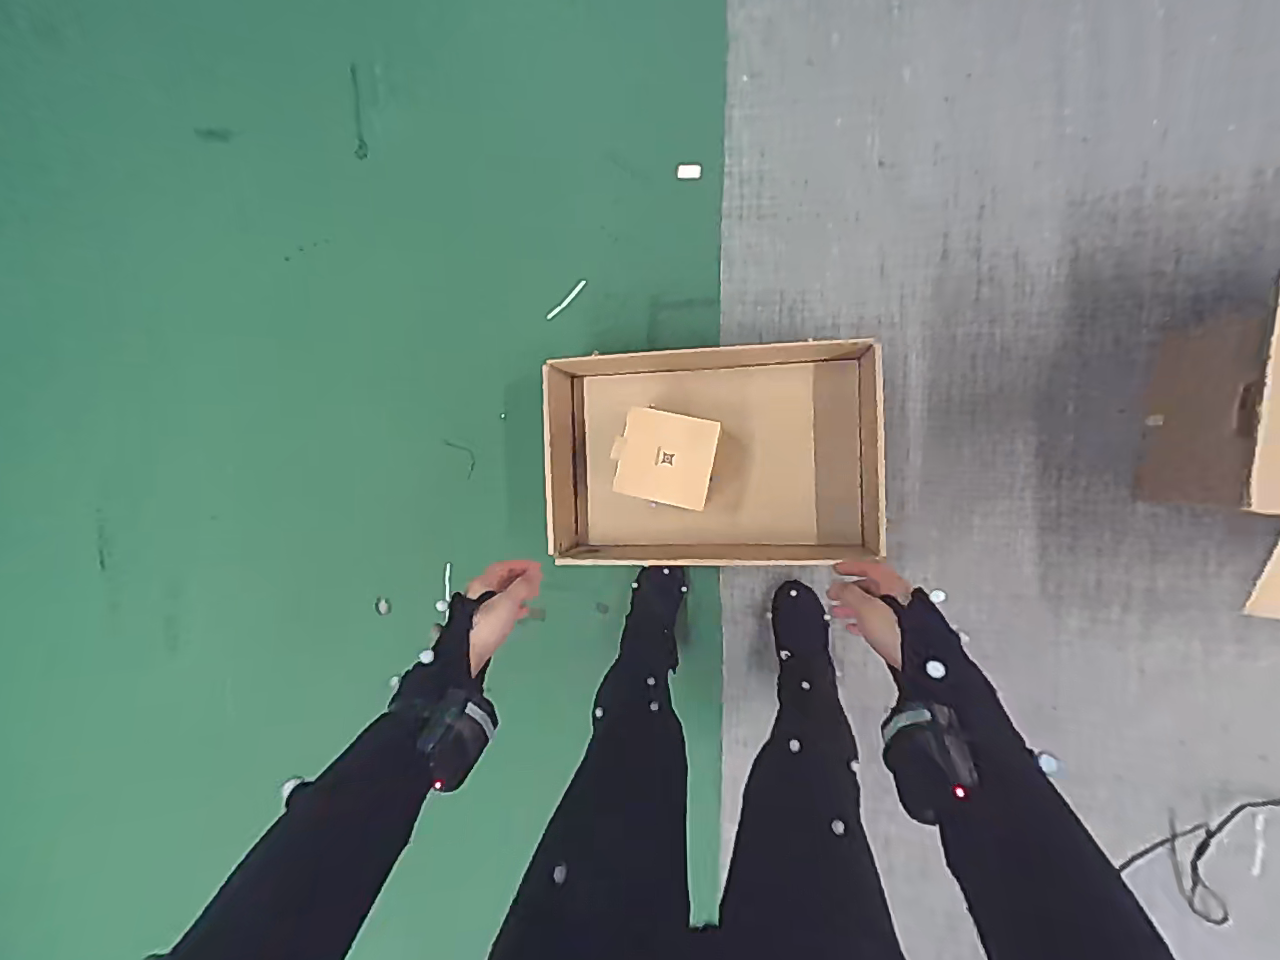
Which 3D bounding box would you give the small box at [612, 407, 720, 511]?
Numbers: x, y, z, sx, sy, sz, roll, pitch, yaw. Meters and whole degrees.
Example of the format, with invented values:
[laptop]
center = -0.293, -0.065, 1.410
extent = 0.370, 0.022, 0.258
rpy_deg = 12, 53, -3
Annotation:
[small box]
center = 0.059, -0.043, 1.066
extent = 0.179, 0.176, 0.168
rpy_deg = 11, 93, 9
